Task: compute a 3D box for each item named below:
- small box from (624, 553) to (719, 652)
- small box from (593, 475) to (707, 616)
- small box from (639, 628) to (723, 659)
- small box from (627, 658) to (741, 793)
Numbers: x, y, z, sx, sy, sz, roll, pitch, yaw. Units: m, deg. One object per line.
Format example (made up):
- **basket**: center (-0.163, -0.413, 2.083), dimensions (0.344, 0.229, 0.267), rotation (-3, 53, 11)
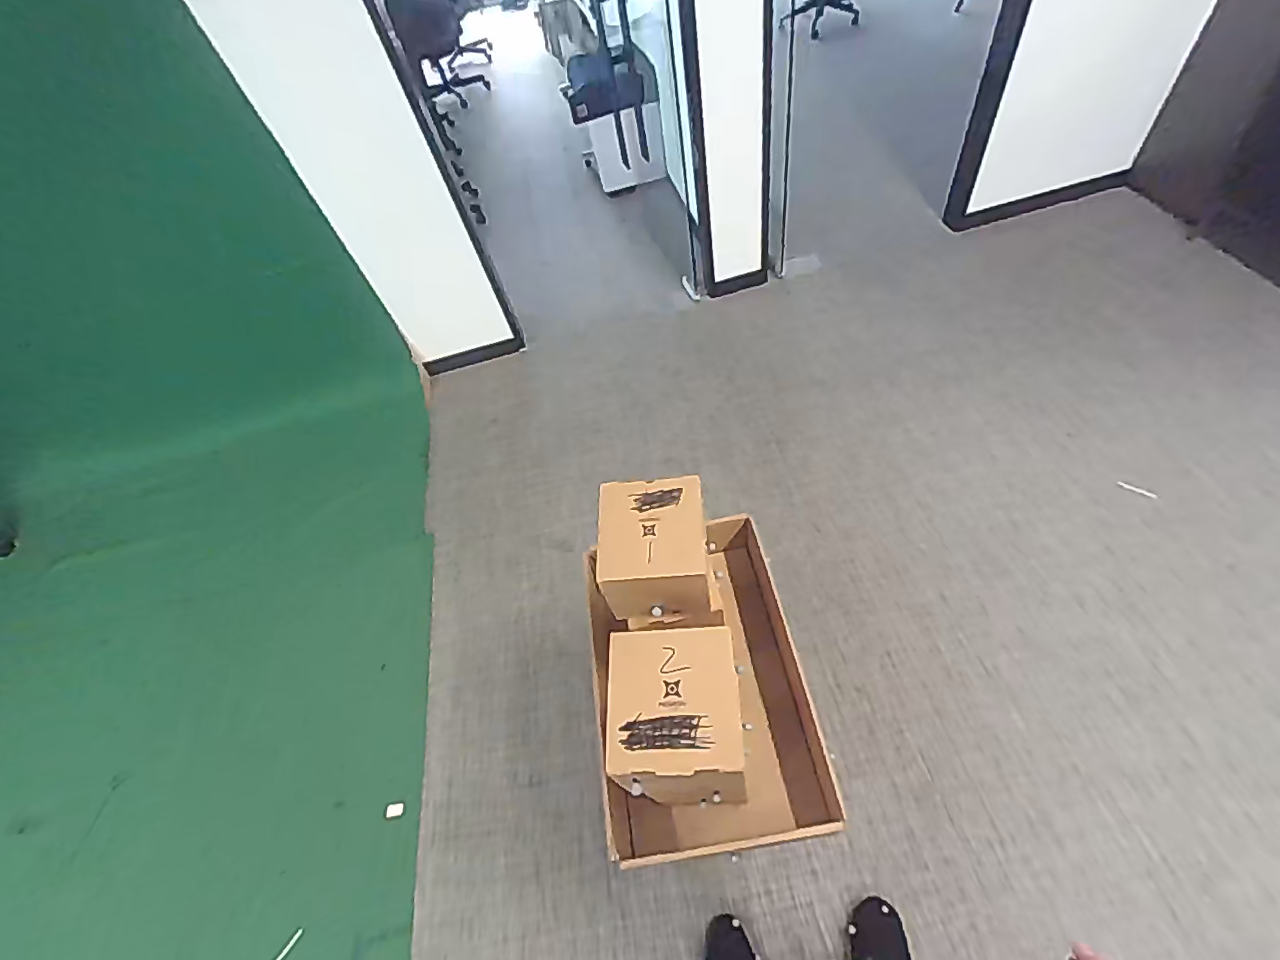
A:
- **small box**: center (0.052, 0.208, 1.036), dimensions (0.168, 0.176, 0.179), rotation (-13, 55, 1)
- **small box**: center (0.022, 0.113, 0.905), dimensions (0.168, 0.176, 0.179), rotation (-6, 56, 7)
- **small box**: center (0.078, 0.297, 1.168), dimensions (0.168, 0.176, 0.179), rotation (-13, 55, 3)
- **small box**: center (0.077, 0.404, 0.885), dimensions (0.168, 0.176, 0.179), rotation (-3, 53, 8)
